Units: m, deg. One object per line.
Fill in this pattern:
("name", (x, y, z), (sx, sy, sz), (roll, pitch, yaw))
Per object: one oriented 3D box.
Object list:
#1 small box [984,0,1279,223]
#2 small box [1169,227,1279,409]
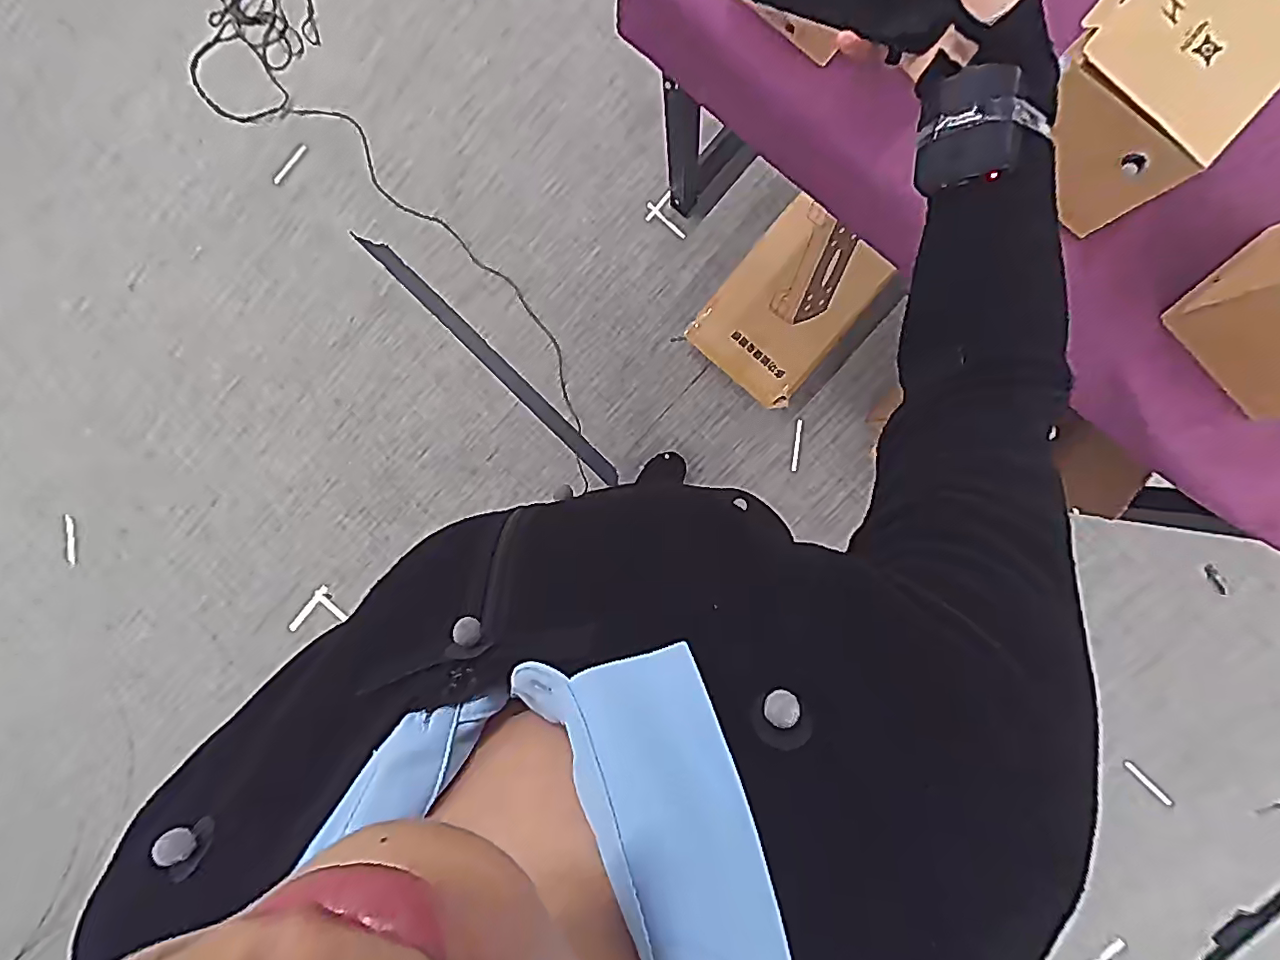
("small box", (0.547, -0.423, 0.606), (0.179, 0.176, 0.168), (41, 93, 2))
("small box", (0.770, -0.195, 0.599), (0.168, 0.176, 0.179), (-42, 89, 5))
